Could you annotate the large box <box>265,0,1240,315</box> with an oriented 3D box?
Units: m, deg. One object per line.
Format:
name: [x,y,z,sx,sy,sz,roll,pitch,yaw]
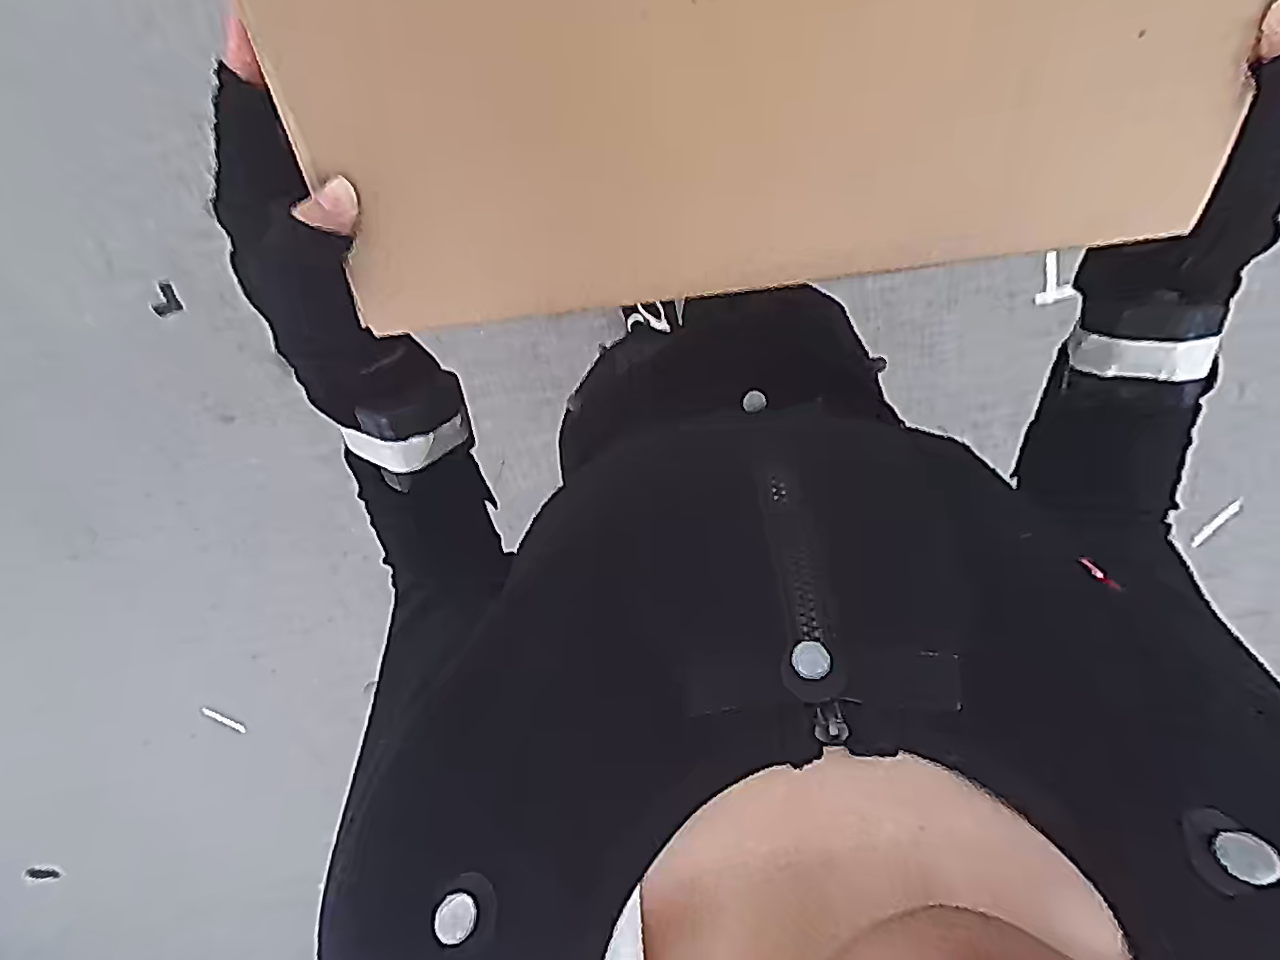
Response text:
large box: [0.037,-0.317,0.319,0.408,0.320,0.320,-7,124,1]
